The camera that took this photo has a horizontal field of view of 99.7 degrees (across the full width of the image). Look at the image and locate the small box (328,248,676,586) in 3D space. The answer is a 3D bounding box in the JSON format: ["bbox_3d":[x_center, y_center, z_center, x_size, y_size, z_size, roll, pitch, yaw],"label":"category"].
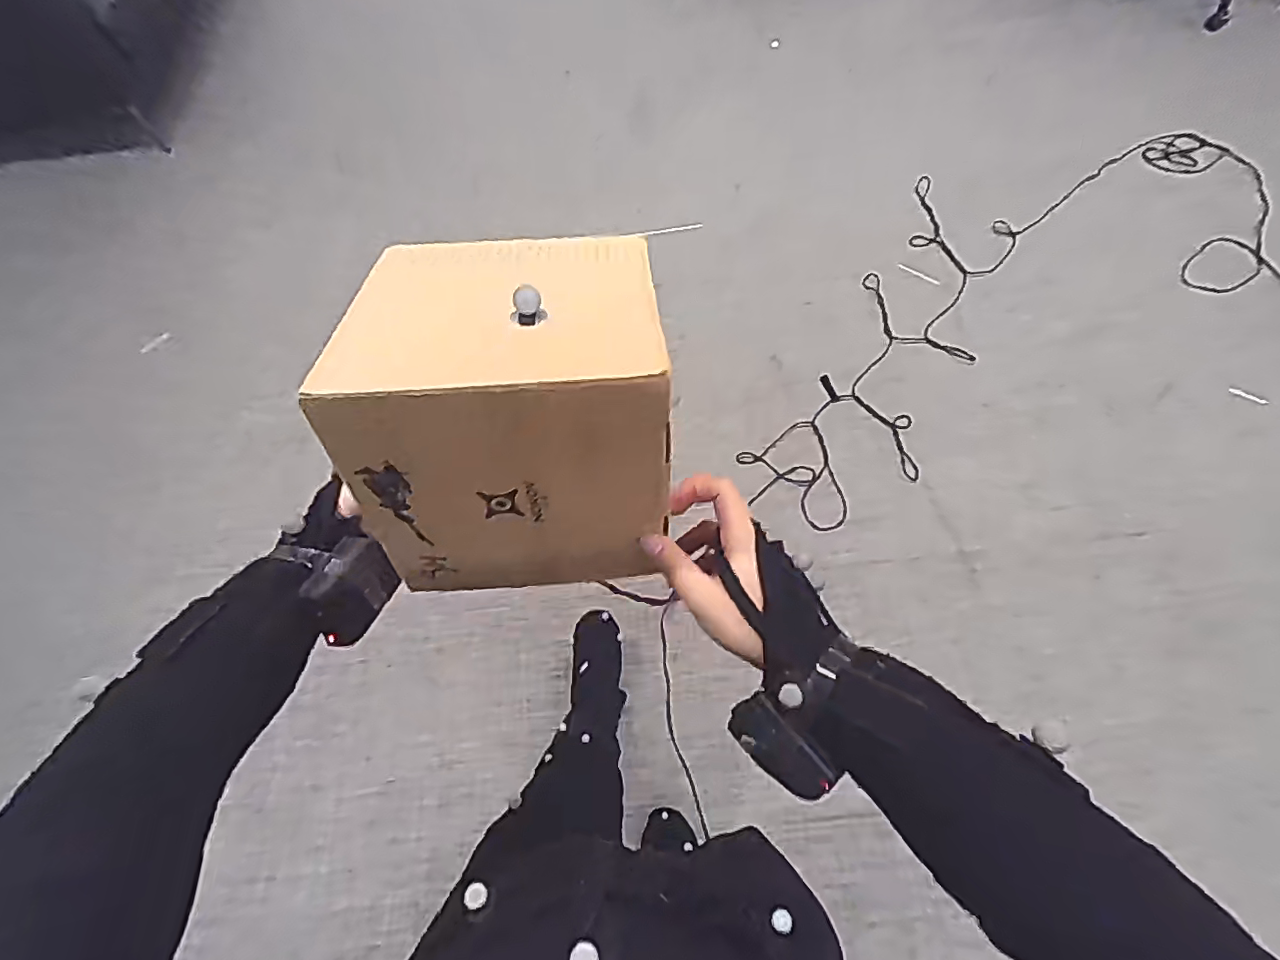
[{"bbox_3d":[-0.076,-0.048,0.380,0.179,0.168,0.176,-5,45,-4],"label":"small box"}]
